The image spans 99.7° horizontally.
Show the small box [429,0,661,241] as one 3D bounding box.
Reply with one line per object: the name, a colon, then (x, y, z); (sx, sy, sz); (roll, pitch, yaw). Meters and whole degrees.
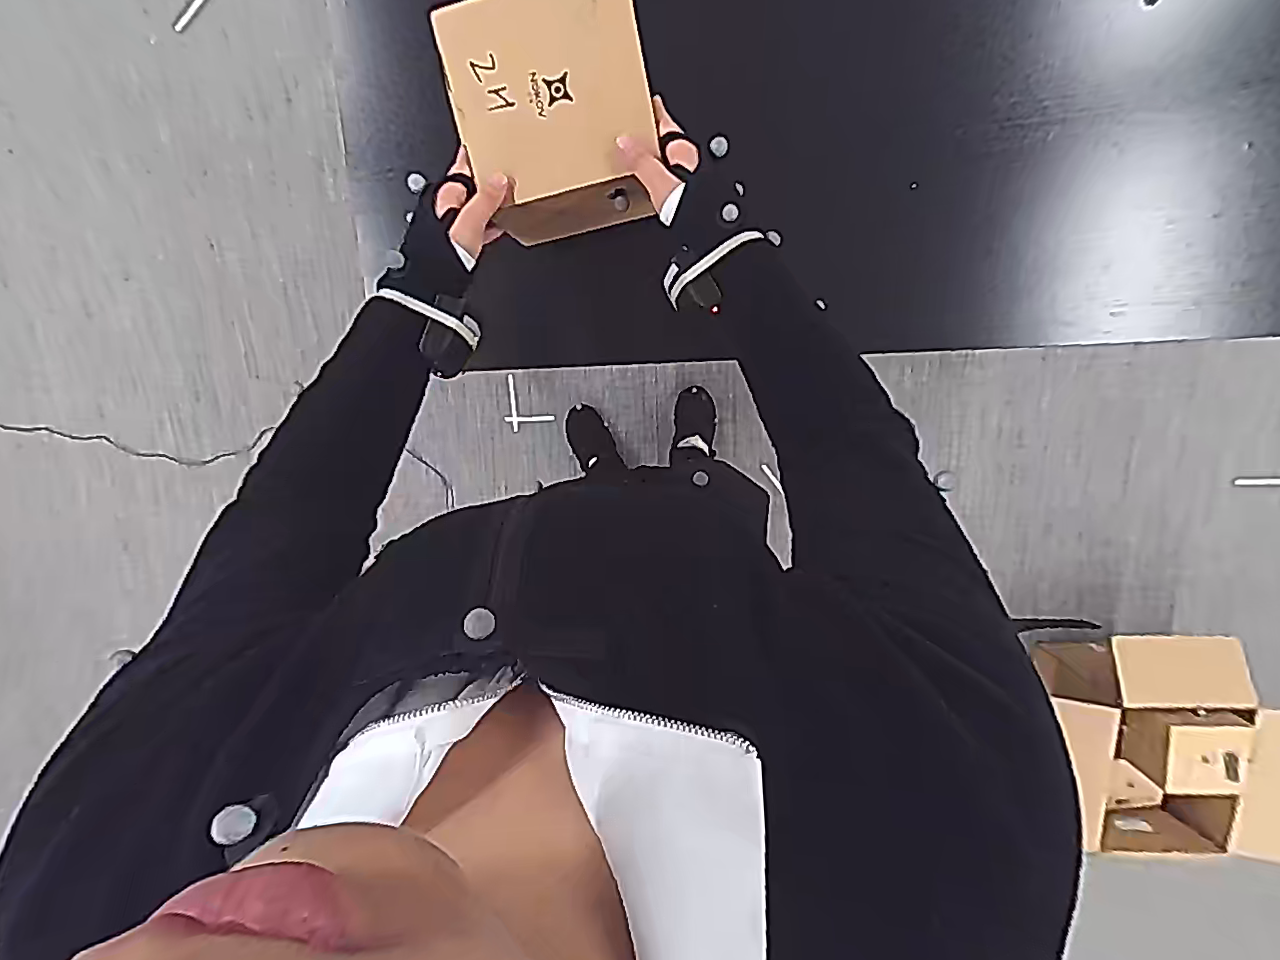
small box: (-0.079, -0.360, 0.552); (0.179, 0.176, 0.168); (-11, 103, 6)
